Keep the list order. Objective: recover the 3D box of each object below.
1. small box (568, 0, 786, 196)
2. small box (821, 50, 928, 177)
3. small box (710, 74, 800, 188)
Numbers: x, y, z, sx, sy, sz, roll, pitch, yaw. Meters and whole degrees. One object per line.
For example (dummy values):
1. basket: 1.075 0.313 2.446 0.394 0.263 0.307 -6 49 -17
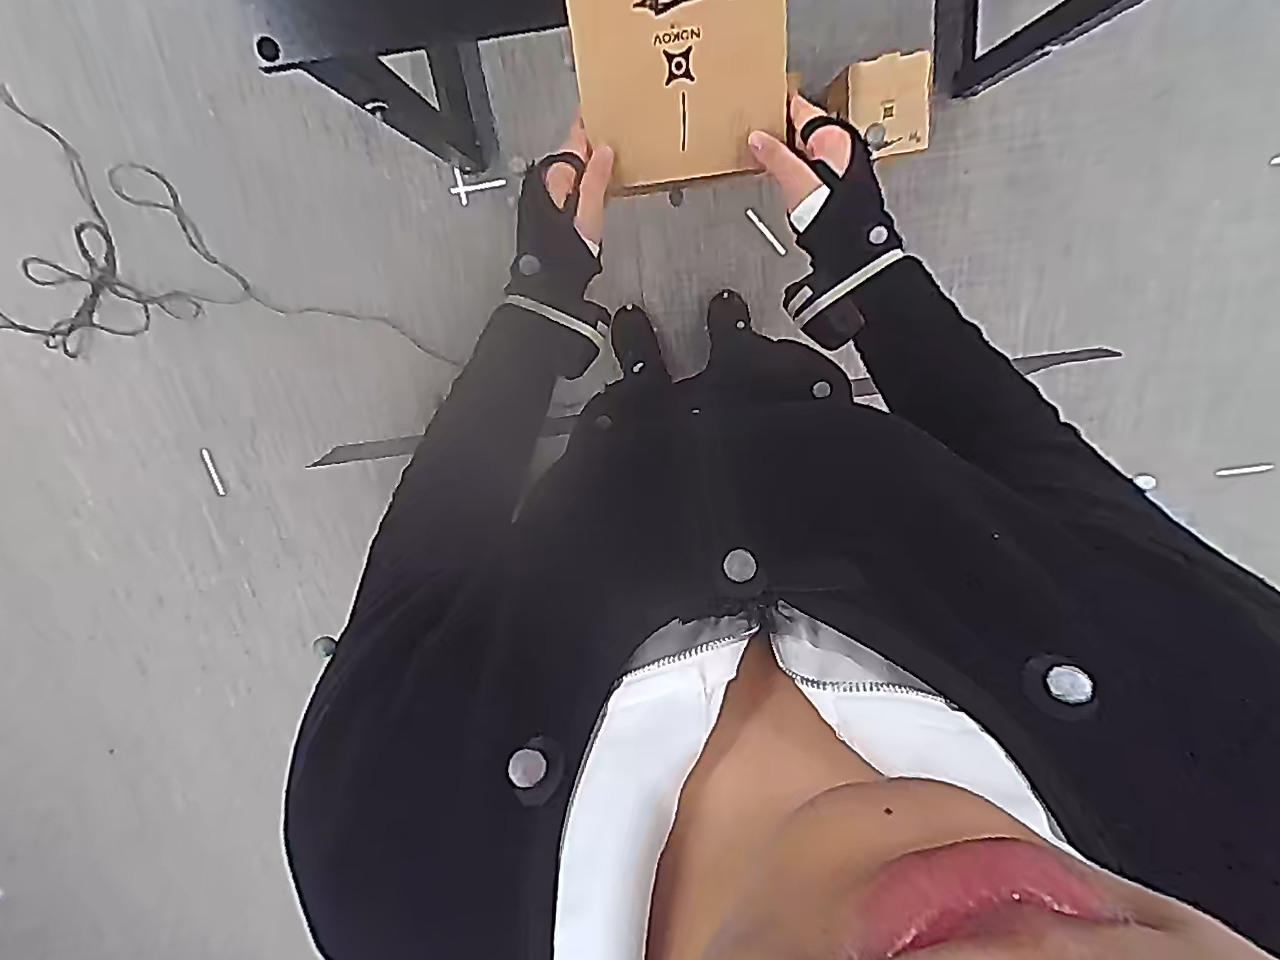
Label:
1. small box: 0.031 -0.367 0.489 0.168 0.176 0.179 -6 116 4
2. small box: 0.501 -0.784 1.174 0.168 0.176 0.179 -8 109 3
3. small box: 0.240 -0.754 1.185 0.179 0.176 0.168 -8 109 3
